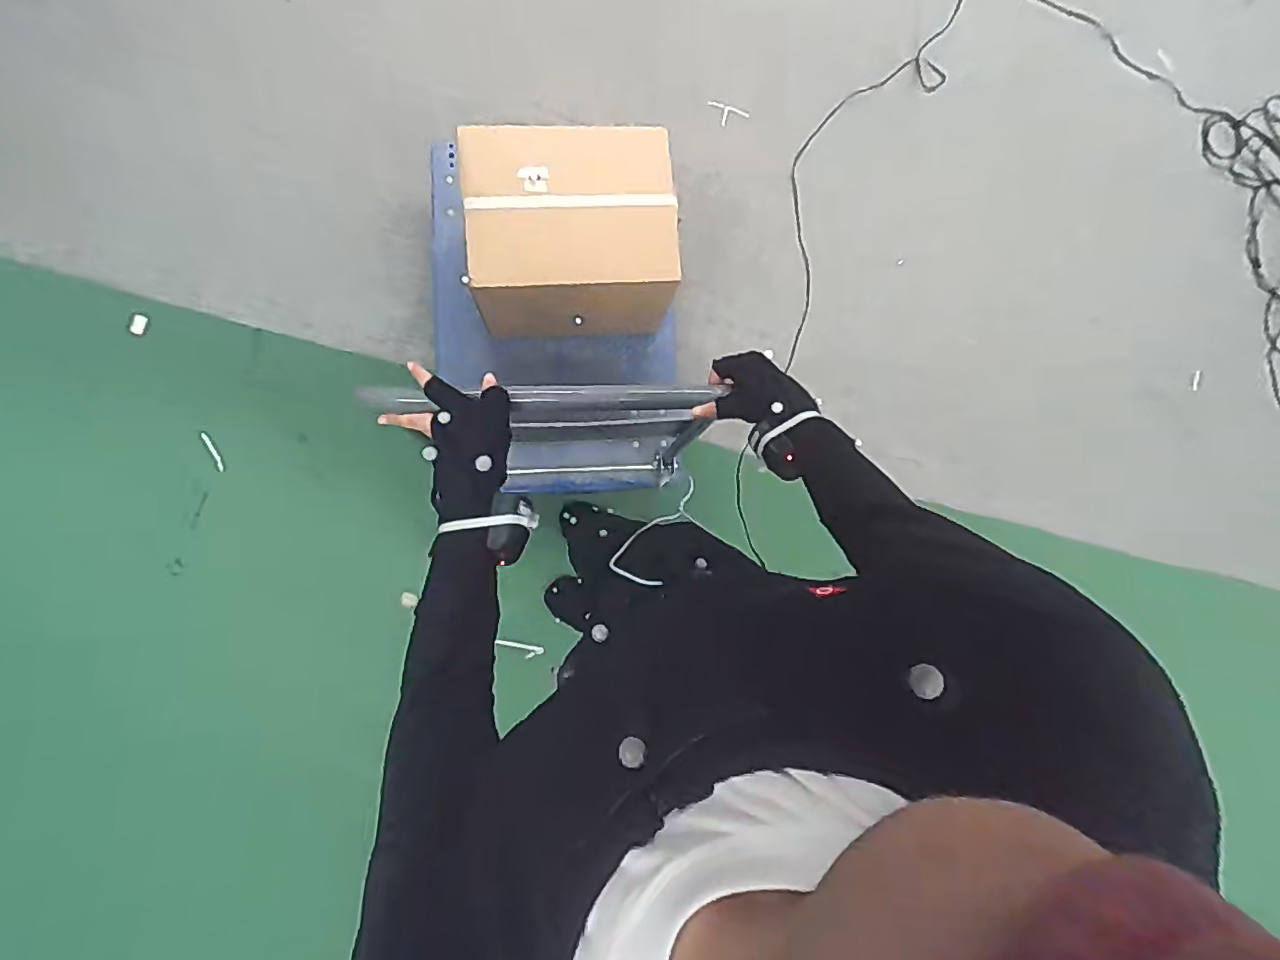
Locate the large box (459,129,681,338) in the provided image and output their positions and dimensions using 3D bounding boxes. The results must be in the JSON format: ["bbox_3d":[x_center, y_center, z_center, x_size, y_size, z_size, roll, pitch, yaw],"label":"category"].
[{"bbox_3d":[-0.147,-0.513,1.179,0.408,0.320,0.320,-5,86,-7],"label":"large box"}]
